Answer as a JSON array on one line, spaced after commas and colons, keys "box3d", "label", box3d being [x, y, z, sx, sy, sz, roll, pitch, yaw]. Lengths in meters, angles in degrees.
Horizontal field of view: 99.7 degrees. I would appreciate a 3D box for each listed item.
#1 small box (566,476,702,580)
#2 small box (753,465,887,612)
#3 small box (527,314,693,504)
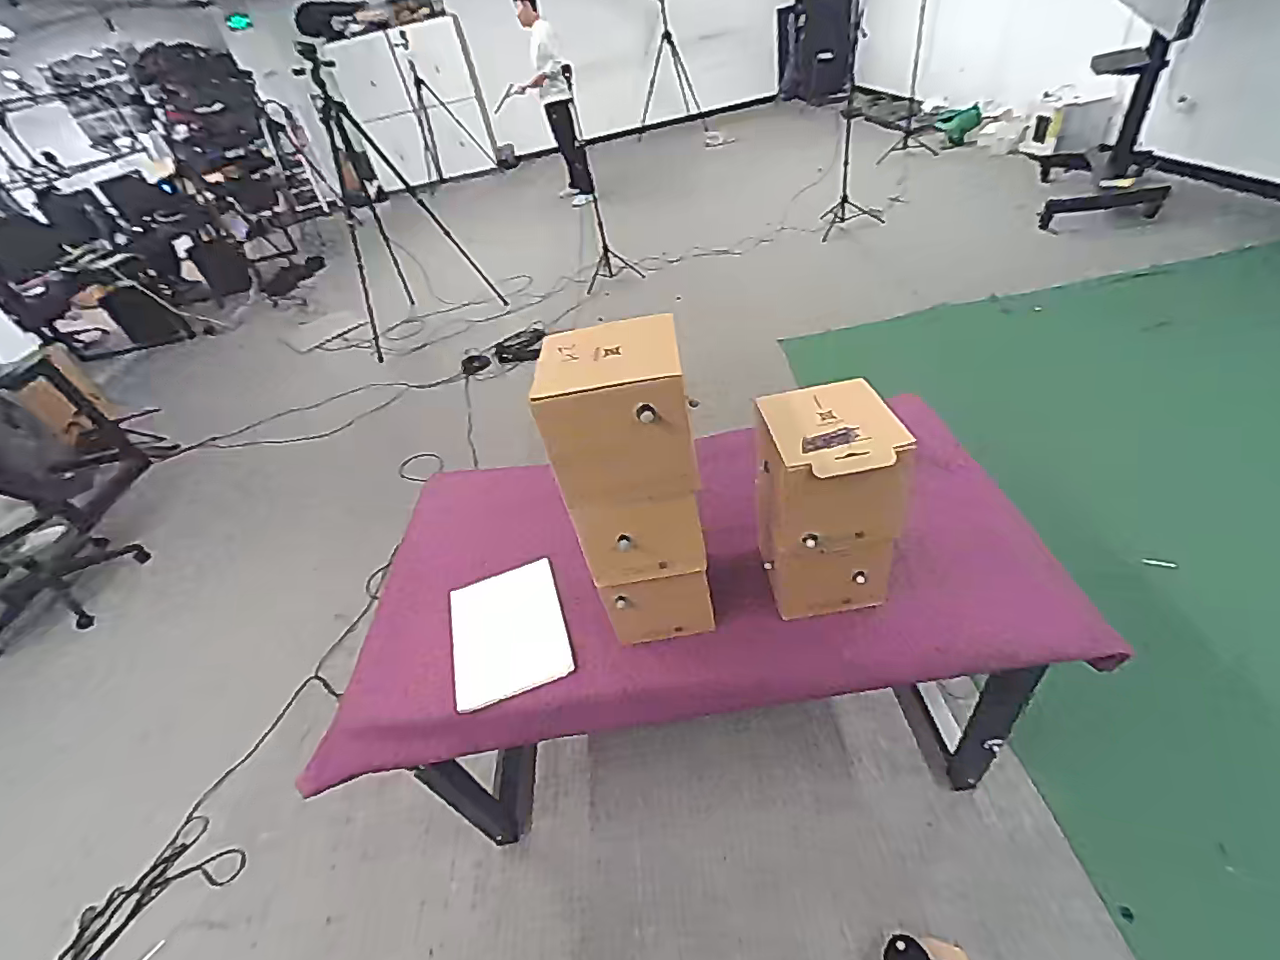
[{"box3d": [-0.006, 0.032, 0.808, 0.168, 0.176, 0.179, -10, 39, 5], "label": "small box"}, {"box3d": [0.289, 0.103, 0.900, 0.168, 0.176, 0.179, -9, 39, 4], "label": "small box"}, {"box3d": [-0.027, -0.089, 0.698, 0.179, 0.176, 0.168, -9, 39, 6], "label": "small box"}]
